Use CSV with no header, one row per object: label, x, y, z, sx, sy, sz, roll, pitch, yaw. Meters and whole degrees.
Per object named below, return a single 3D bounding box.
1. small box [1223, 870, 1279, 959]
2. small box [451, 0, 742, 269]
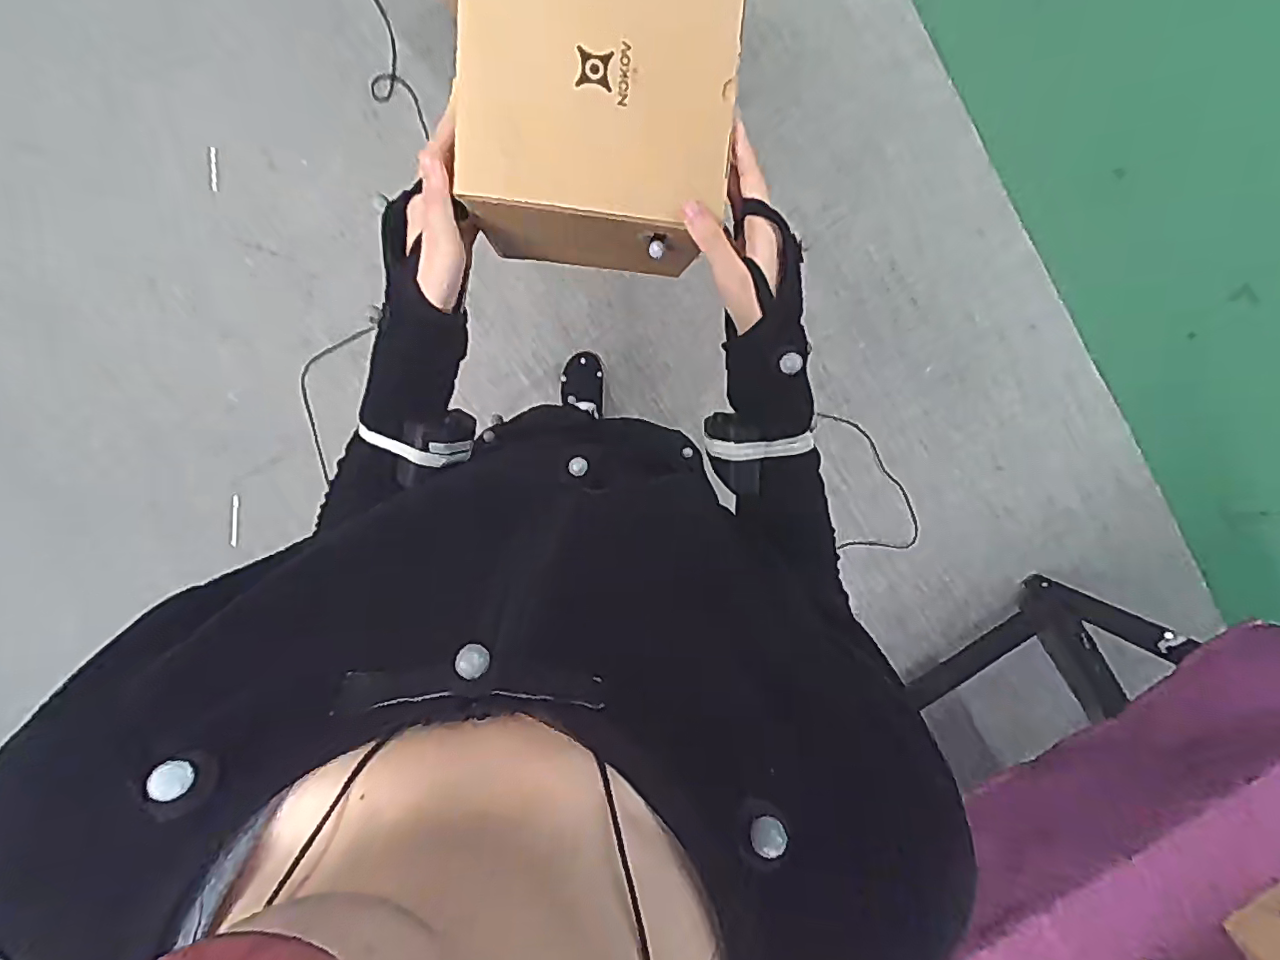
small box,1.129,0.791,0.886,0.179,0.176,0.168,-37,100,4
small box,-0.035,-0.269,0.415,0.179,0.176,0.168,4,101,-8
